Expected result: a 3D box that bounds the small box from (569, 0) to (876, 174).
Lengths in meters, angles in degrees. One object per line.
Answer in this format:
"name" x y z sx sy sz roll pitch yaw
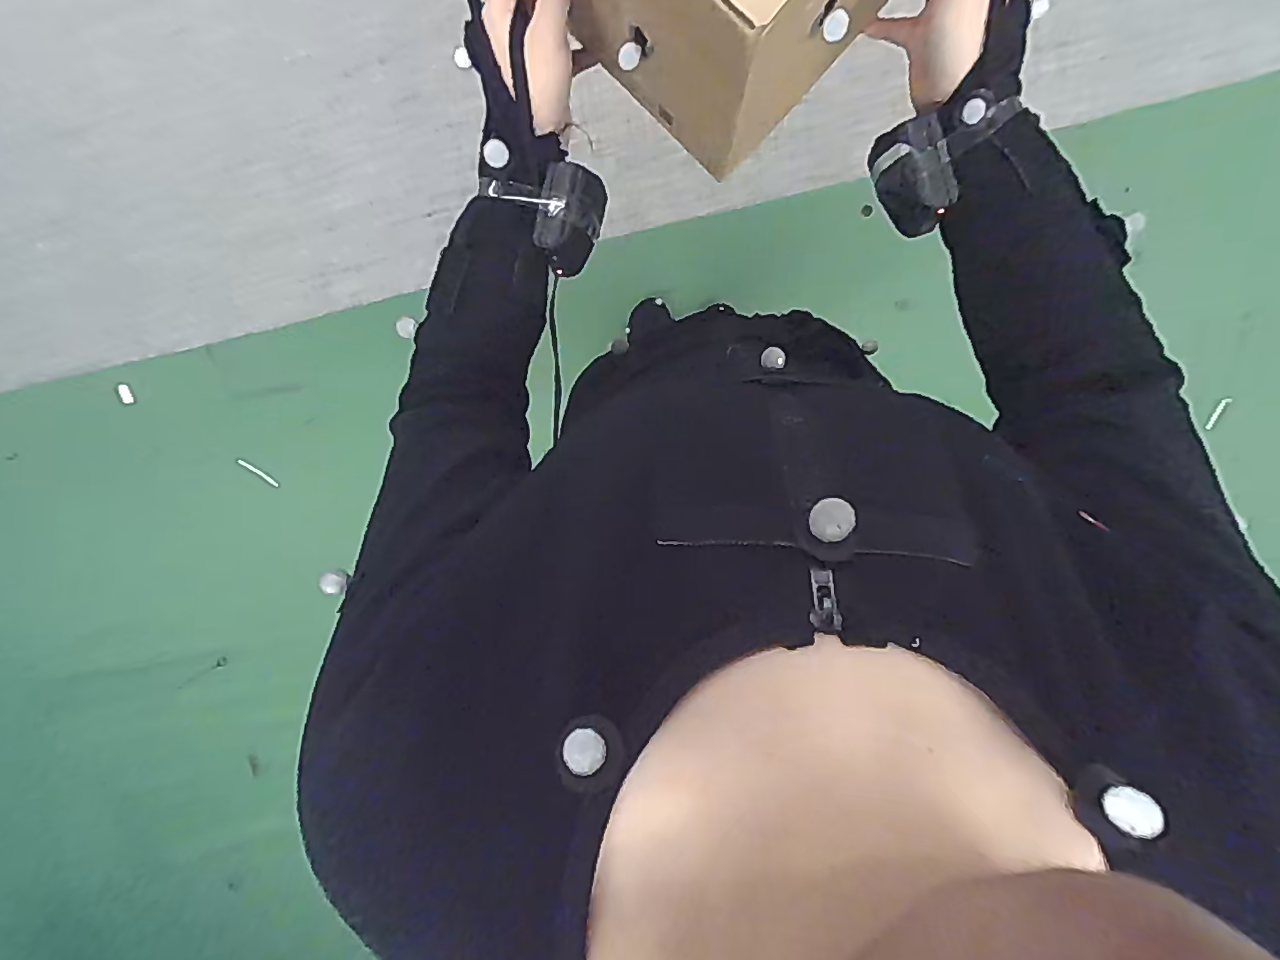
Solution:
"small box" 0.058 -0.335 0.329 0.168 0.176 0.179 43 98 -2
